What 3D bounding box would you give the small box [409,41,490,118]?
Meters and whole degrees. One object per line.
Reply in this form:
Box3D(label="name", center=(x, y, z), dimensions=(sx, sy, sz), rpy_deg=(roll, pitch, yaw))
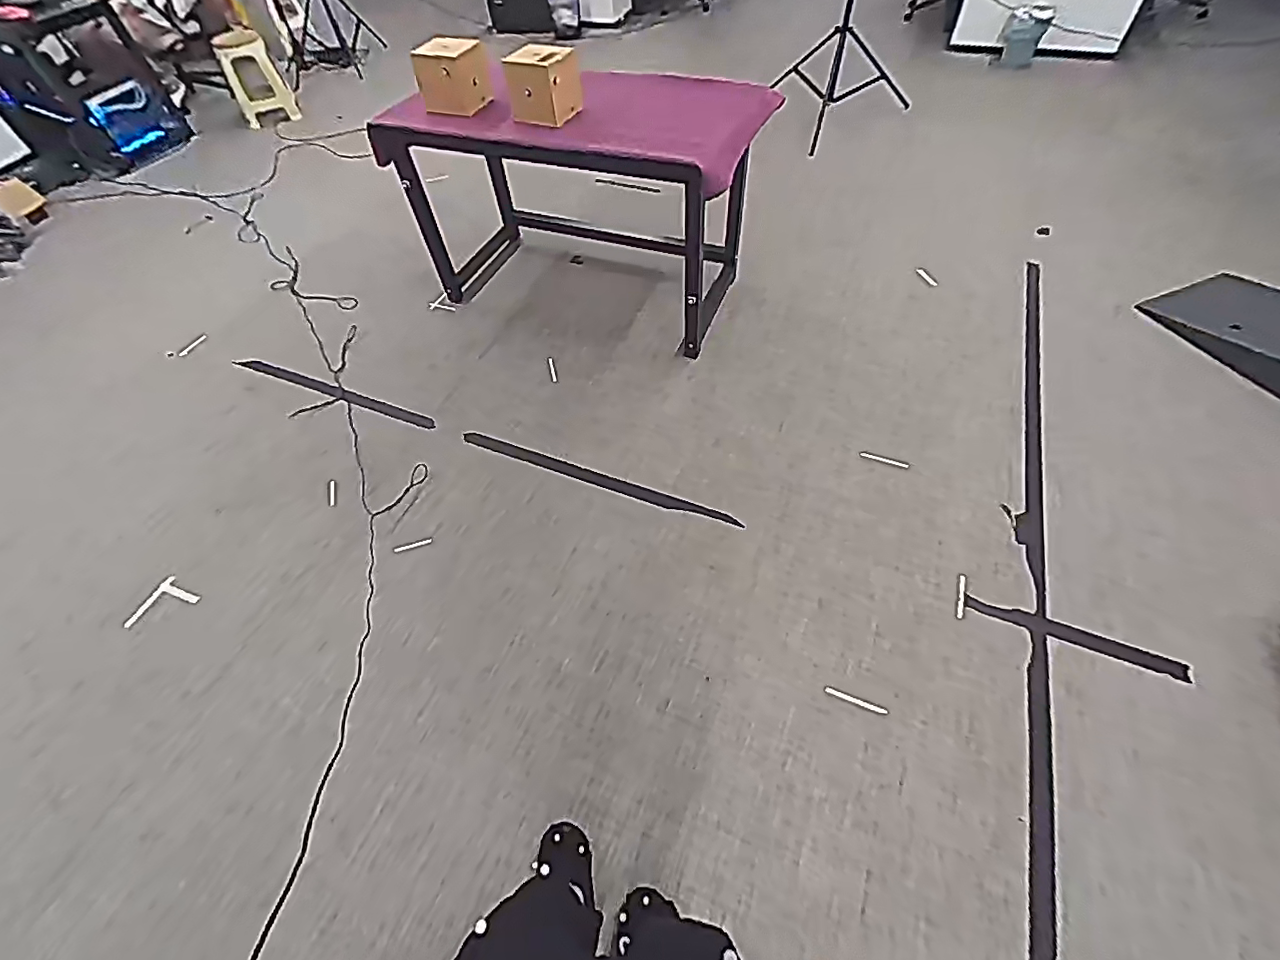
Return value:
Box3D(label="small box", center=(-0.633, -1.350, 1.826), dimensions=(0.179, 0.176, 0.168), rpy_deg=(15, 55, 14))
